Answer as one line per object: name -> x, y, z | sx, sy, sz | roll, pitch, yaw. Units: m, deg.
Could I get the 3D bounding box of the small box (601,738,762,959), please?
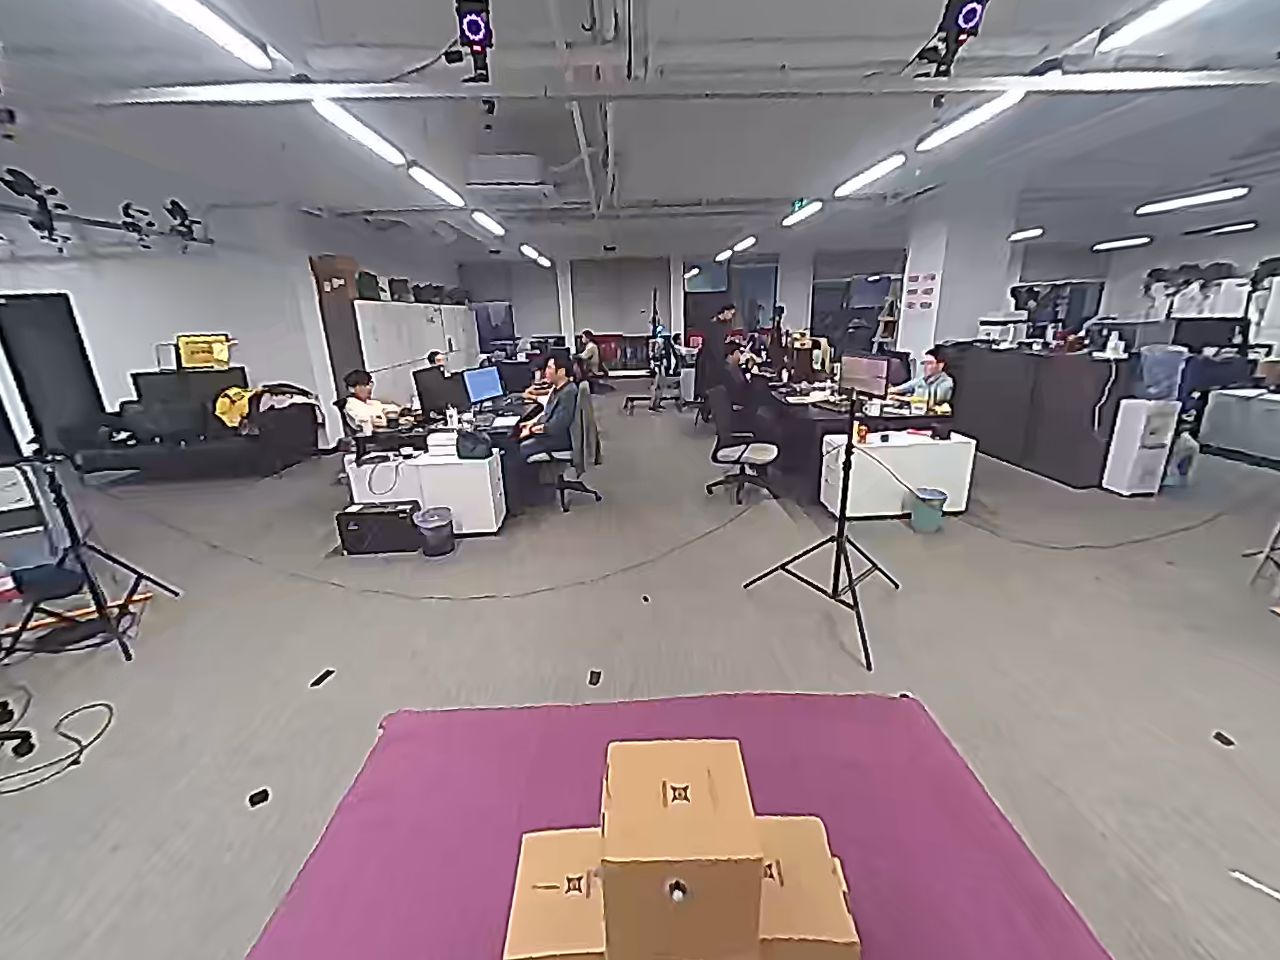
small box -> 0.048, 0.450, 0.669 | 0.179, 0.176, 0.168 | -1, 18, 0

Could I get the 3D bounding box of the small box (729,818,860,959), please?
small box -> 0.179, 0.597, 0.735 | 0.179, 0.176, 0.168 | -2, 16, 3

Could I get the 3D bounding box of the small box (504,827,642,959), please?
small box -> -0.072, 0.606, 0.728 | 0.179, 0.176, 0.168 | -4, 16, -2
